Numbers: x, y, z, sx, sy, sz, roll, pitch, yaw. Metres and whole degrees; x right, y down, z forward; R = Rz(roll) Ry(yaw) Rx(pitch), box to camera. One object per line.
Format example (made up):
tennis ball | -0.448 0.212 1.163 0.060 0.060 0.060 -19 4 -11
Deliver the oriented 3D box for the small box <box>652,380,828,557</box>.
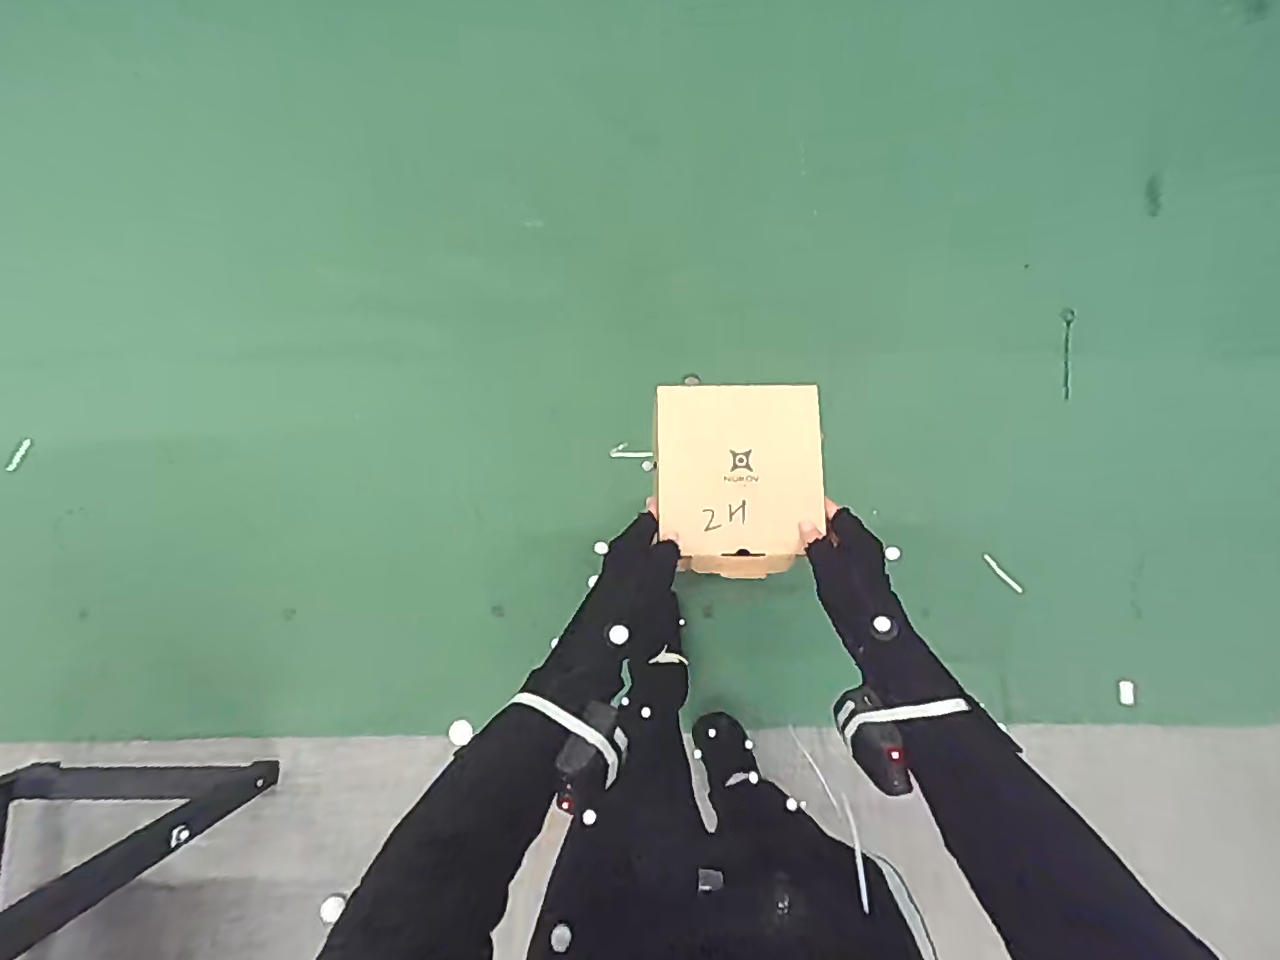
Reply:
small box | 0.099 -0.002 0.611 0.168 0.176 0.179 0 82 -1

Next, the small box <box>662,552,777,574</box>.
small box | 0.122 0.060 0.885 0.168 0.176 0.179 2 83 0
